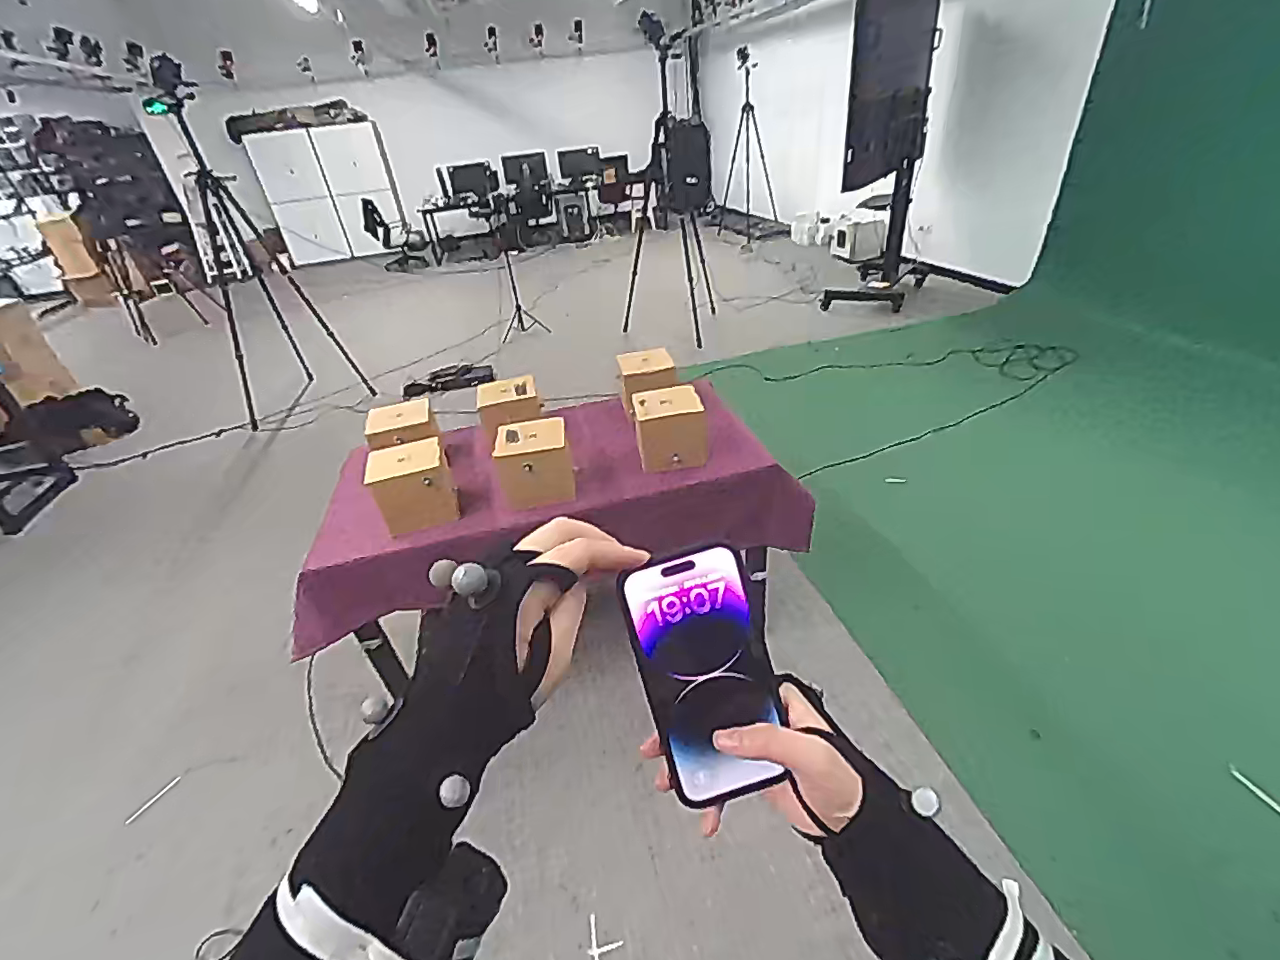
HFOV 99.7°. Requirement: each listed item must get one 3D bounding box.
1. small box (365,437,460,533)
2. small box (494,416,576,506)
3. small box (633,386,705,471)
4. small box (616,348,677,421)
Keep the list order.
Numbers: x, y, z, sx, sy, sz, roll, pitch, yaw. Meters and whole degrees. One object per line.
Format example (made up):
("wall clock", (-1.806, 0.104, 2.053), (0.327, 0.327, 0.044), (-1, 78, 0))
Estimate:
("small box", (-0.576, 0.013, 1.383), (0.179, 0.176, 0.168), (-15, 34, -14))
("small box", (-0.269, -0.046, 1.415), (0.179, 0.176, 0.168), (-9, 34, -4))
("small box", (0.080, -0.142, 1.495), (0.179, 0.176, 0.168), (-8, 34, -3))
("small box", (0.022, -0.311, 1.753), (0.168, 0.176, 0.179), (-11, 35, -5))
